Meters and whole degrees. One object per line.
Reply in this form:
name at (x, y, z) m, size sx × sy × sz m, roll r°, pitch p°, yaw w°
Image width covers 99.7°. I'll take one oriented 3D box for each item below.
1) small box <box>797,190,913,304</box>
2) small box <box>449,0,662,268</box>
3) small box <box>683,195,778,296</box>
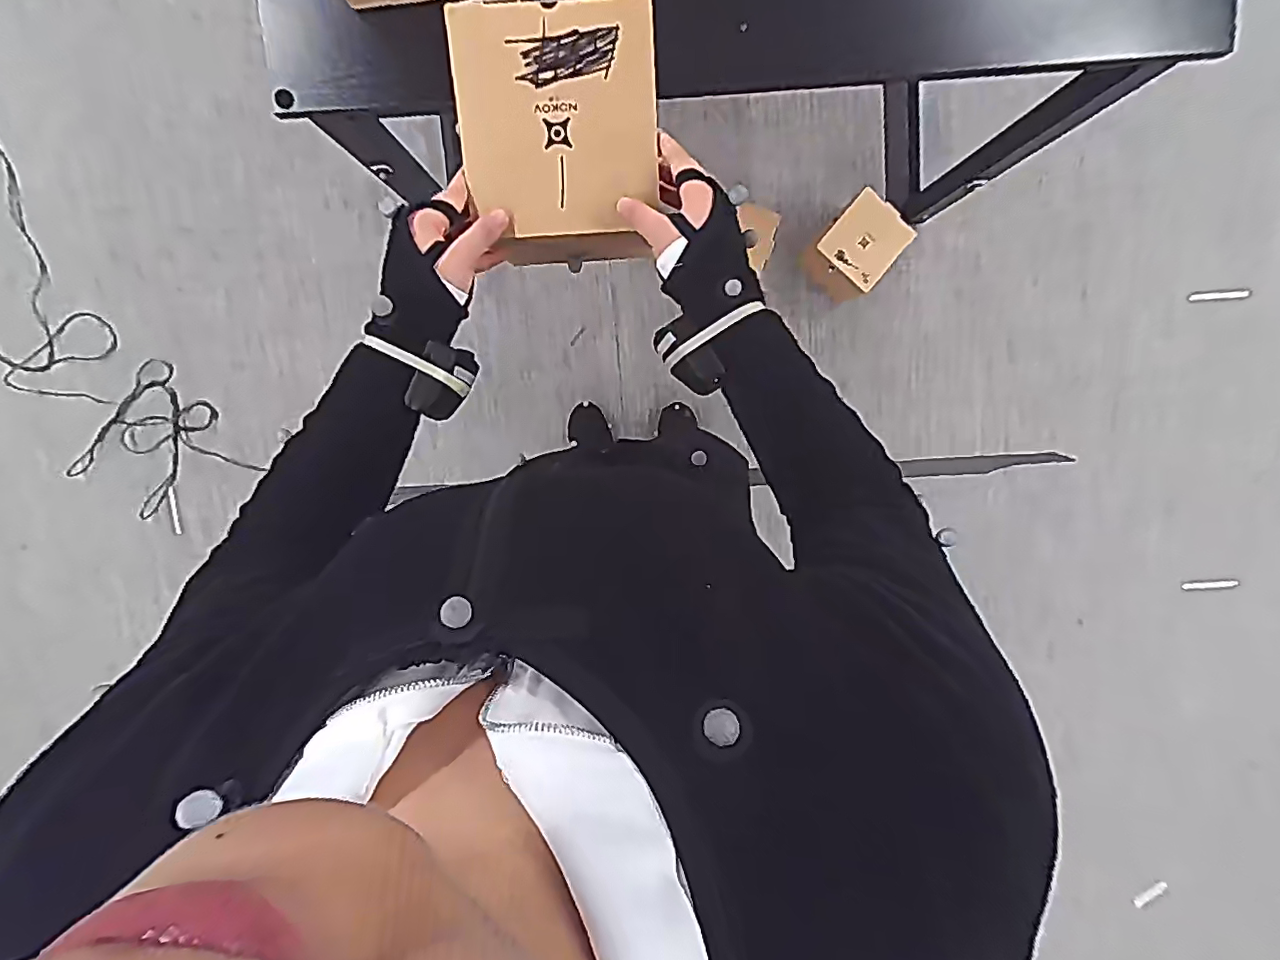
small box at (0.518, -0.562, 1.332) m, size 0.168 × 0.176 × 0.179 m, roll 40°, pitch 96°, yaw -5°
small box at (-0.068, -0.314, 0.524) m, size 0.168 × 0.176 × 0.179 m, roll -4°, pitch 105°, yaw 0°
small box at (0.214, -0.566, 1.332) m, size 0.179 × 0.176 × 0.168 m, roll 17°, pitch 97°, yaw -2°
